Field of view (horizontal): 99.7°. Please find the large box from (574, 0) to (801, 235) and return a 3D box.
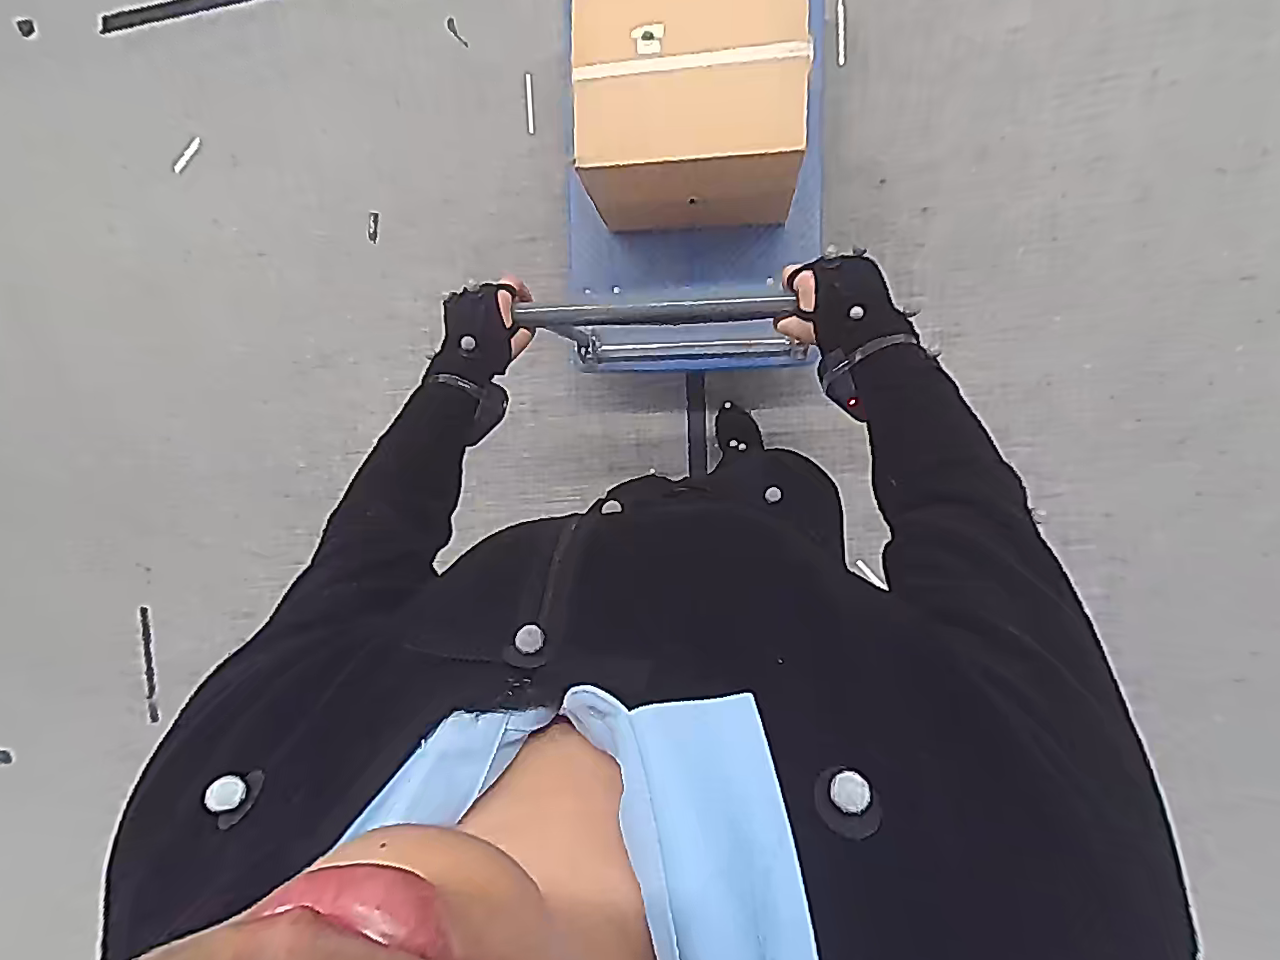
[{"bbox_3d":[0.104,-0.722,1.098,0.408,0.320,0.320,0,93,10],"label":"large box"}]
